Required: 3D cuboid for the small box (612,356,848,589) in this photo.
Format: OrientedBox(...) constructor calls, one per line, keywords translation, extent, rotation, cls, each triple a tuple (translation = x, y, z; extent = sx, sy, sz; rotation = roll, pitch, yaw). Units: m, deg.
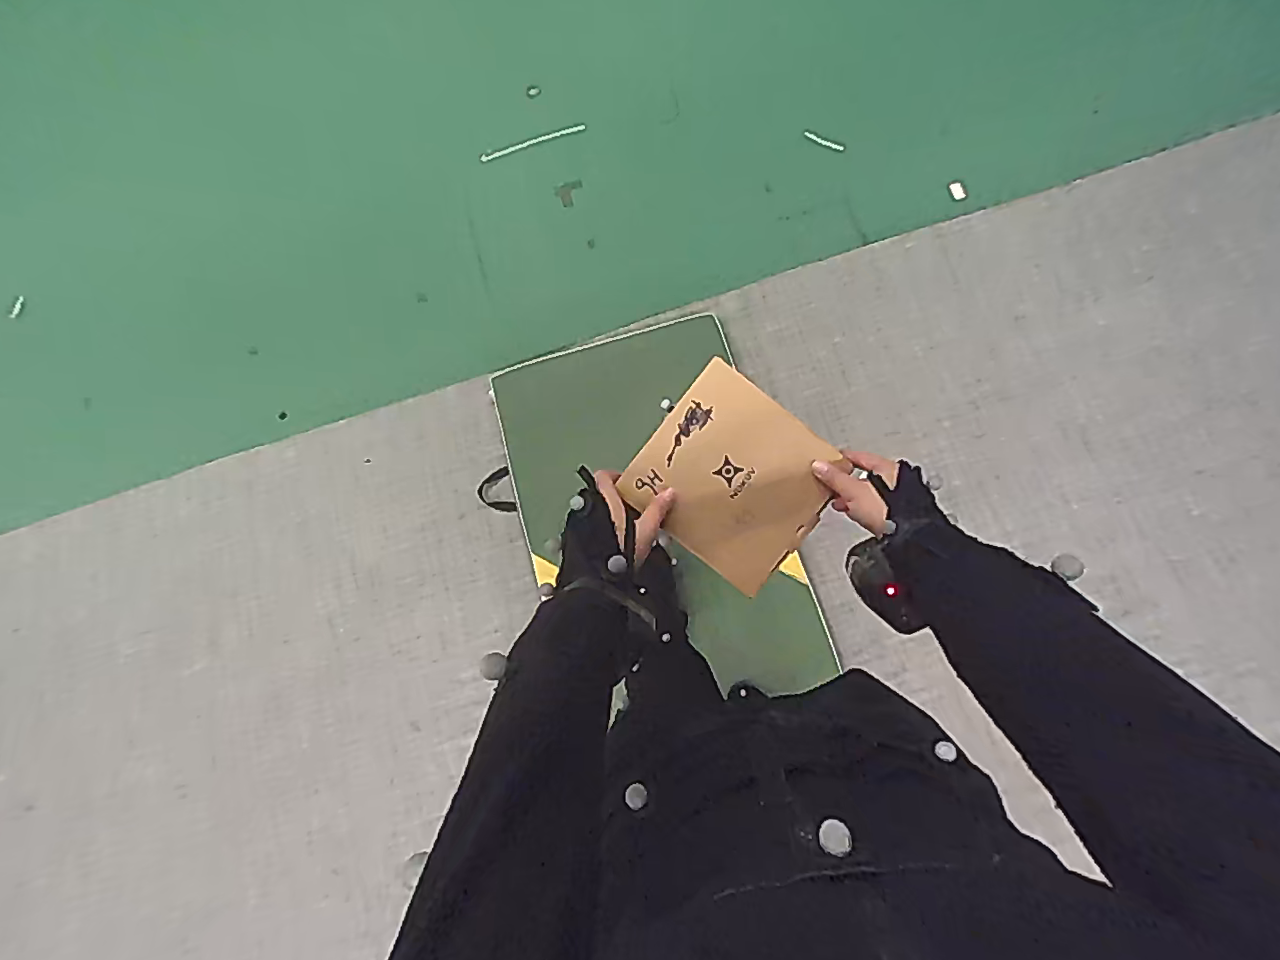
OrientedBox(translation=(0.087, -0.009, 0.606), extent=(0.179, 0.176, 0.168), rotation=(38, 89, -2), cls="small box")
